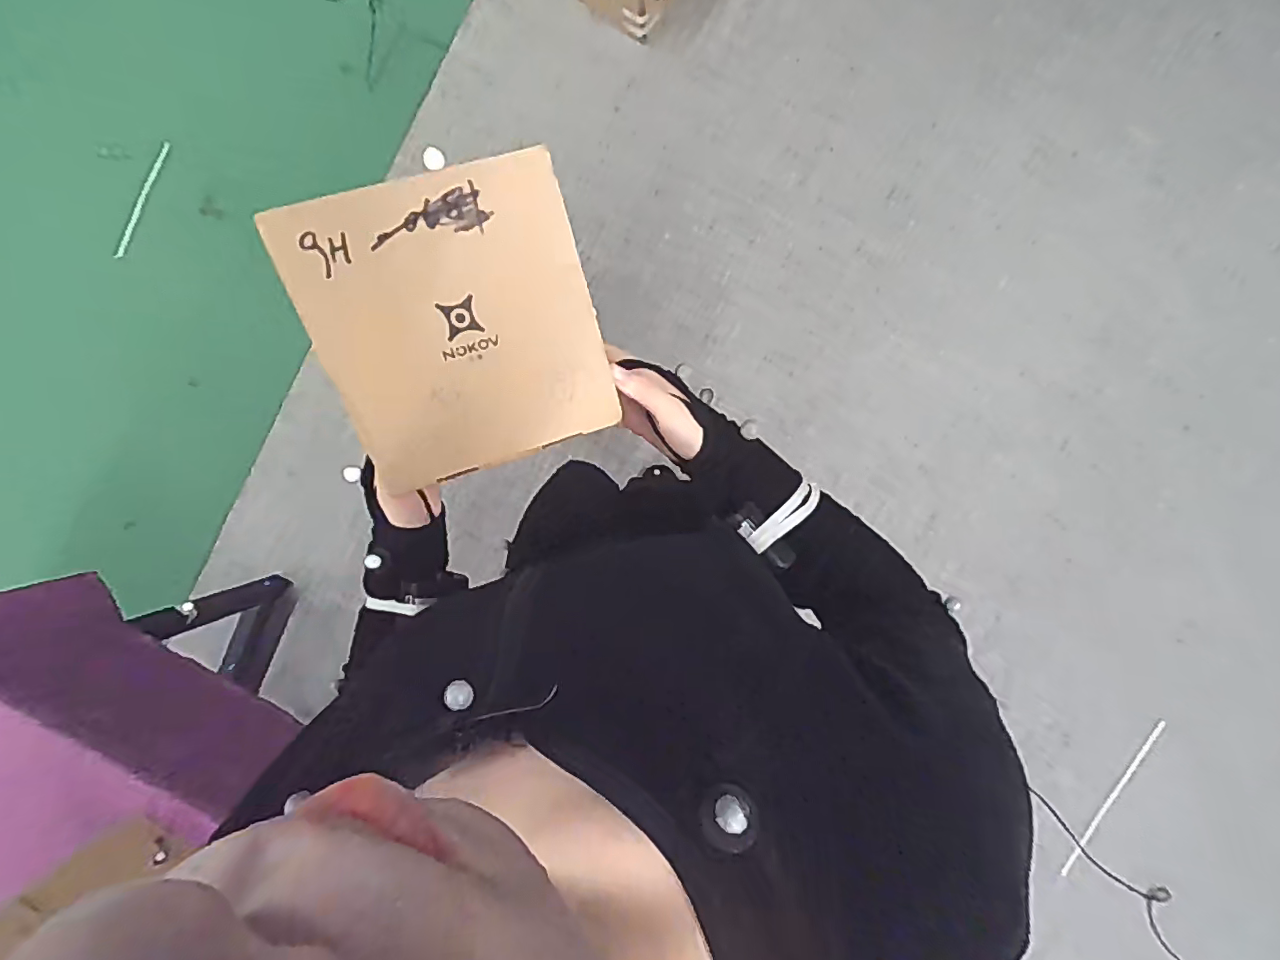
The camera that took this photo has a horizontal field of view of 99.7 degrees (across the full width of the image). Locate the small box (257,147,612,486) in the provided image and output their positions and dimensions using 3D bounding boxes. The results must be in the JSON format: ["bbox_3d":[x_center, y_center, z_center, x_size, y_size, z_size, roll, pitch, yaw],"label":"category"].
[{"bbox_3d":[-0.133,-0.122,0.409,0.168,0.176,0.179,-18,114,-9],"label":"small box"}]

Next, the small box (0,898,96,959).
[{"bbox_3d":[-0.794,0.655,0.632,0.168,0.176,0.179,32,97,4],"label":"small box"}]
